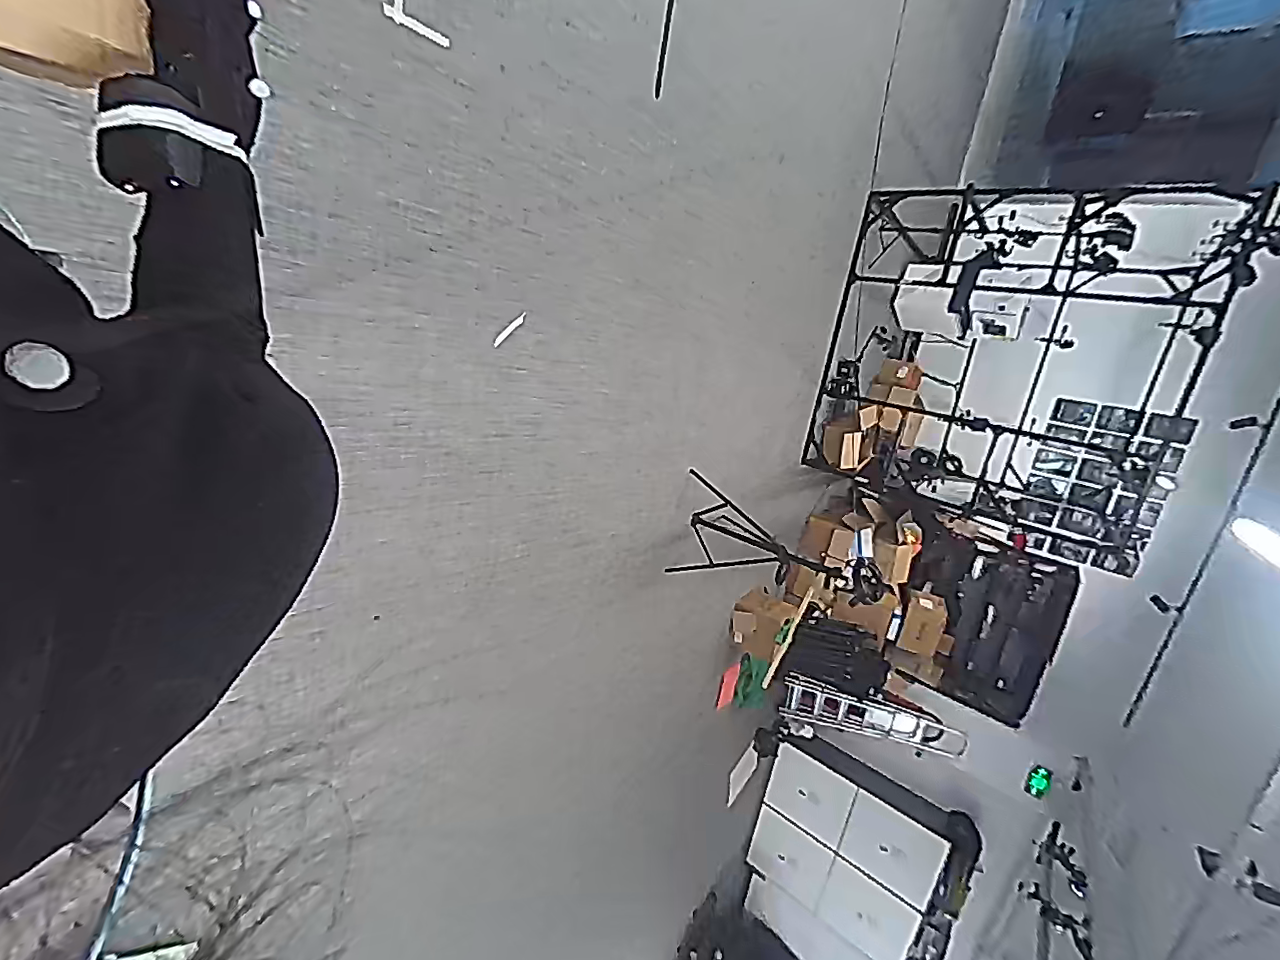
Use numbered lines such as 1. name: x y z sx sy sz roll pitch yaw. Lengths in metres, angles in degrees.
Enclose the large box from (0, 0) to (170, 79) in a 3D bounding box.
1. large box: -0.572 -0.475 0.293 0.408 0.320 0.320 -15 126 -51
